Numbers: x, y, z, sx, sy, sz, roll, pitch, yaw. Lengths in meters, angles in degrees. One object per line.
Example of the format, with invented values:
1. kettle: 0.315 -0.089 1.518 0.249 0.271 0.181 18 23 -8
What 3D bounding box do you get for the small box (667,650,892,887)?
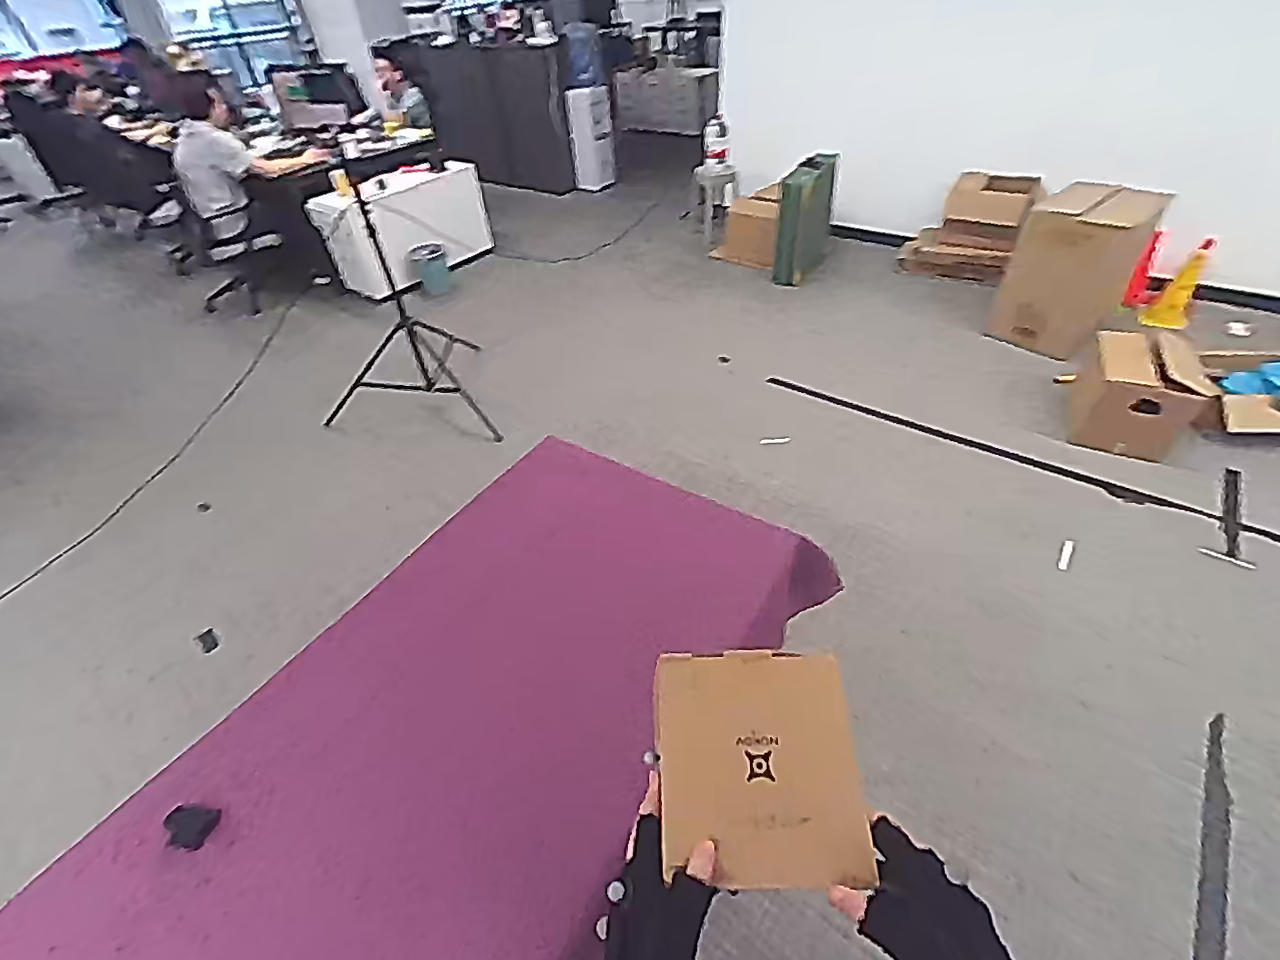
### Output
1. small box: 0.111 0.273 0.518 0.168 0.176 0.179 -1 59 2
